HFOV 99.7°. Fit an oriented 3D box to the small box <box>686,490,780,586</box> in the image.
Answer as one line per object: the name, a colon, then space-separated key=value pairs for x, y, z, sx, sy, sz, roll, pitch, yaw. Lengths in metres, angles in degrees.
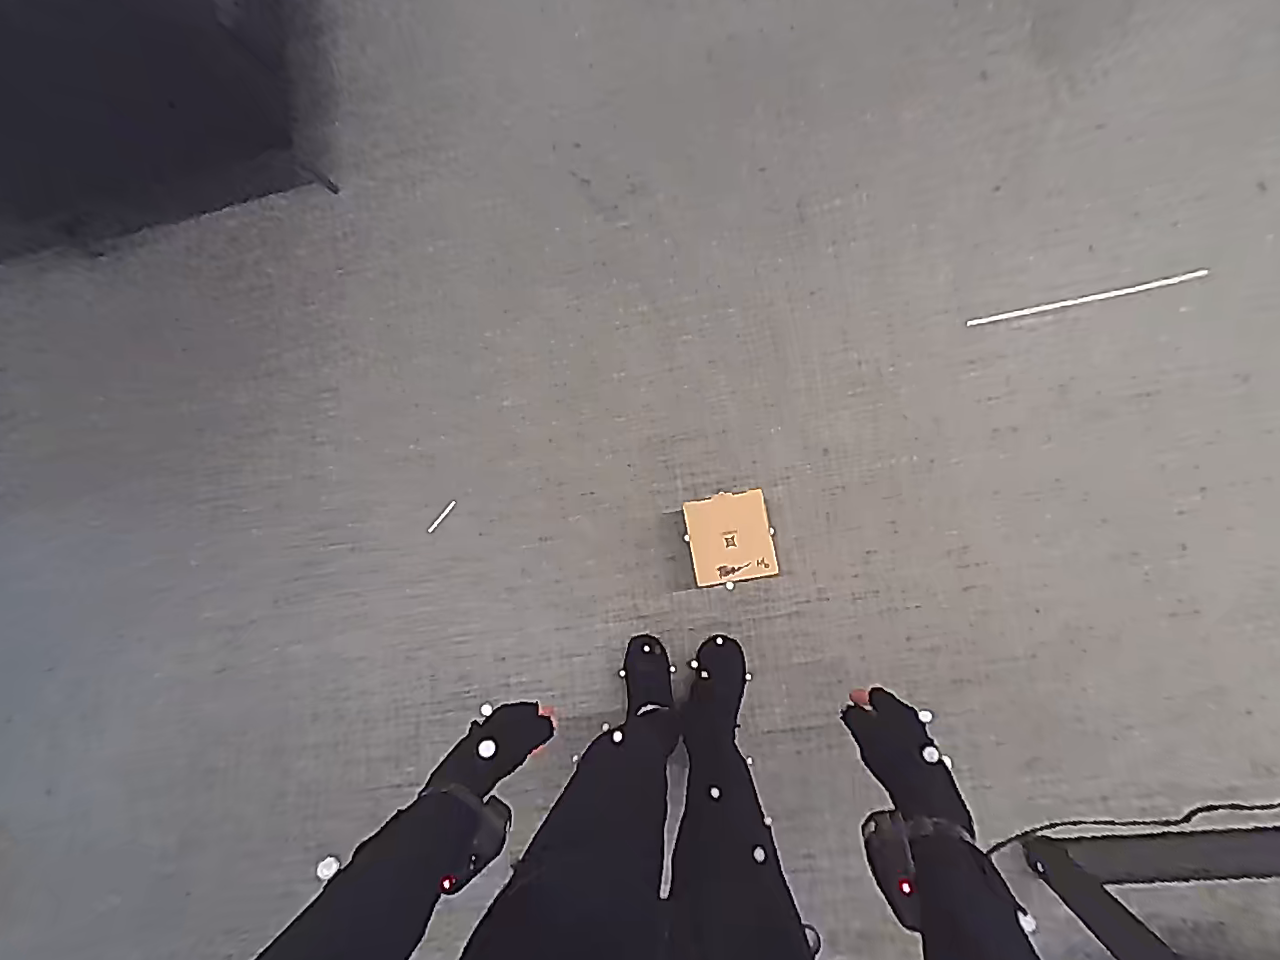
small box: x=0.197 y=0.130 z=1.171 sx=0.168 sy=0.176 sz=0.179 roll=-11 pitch=81 yaw=8
